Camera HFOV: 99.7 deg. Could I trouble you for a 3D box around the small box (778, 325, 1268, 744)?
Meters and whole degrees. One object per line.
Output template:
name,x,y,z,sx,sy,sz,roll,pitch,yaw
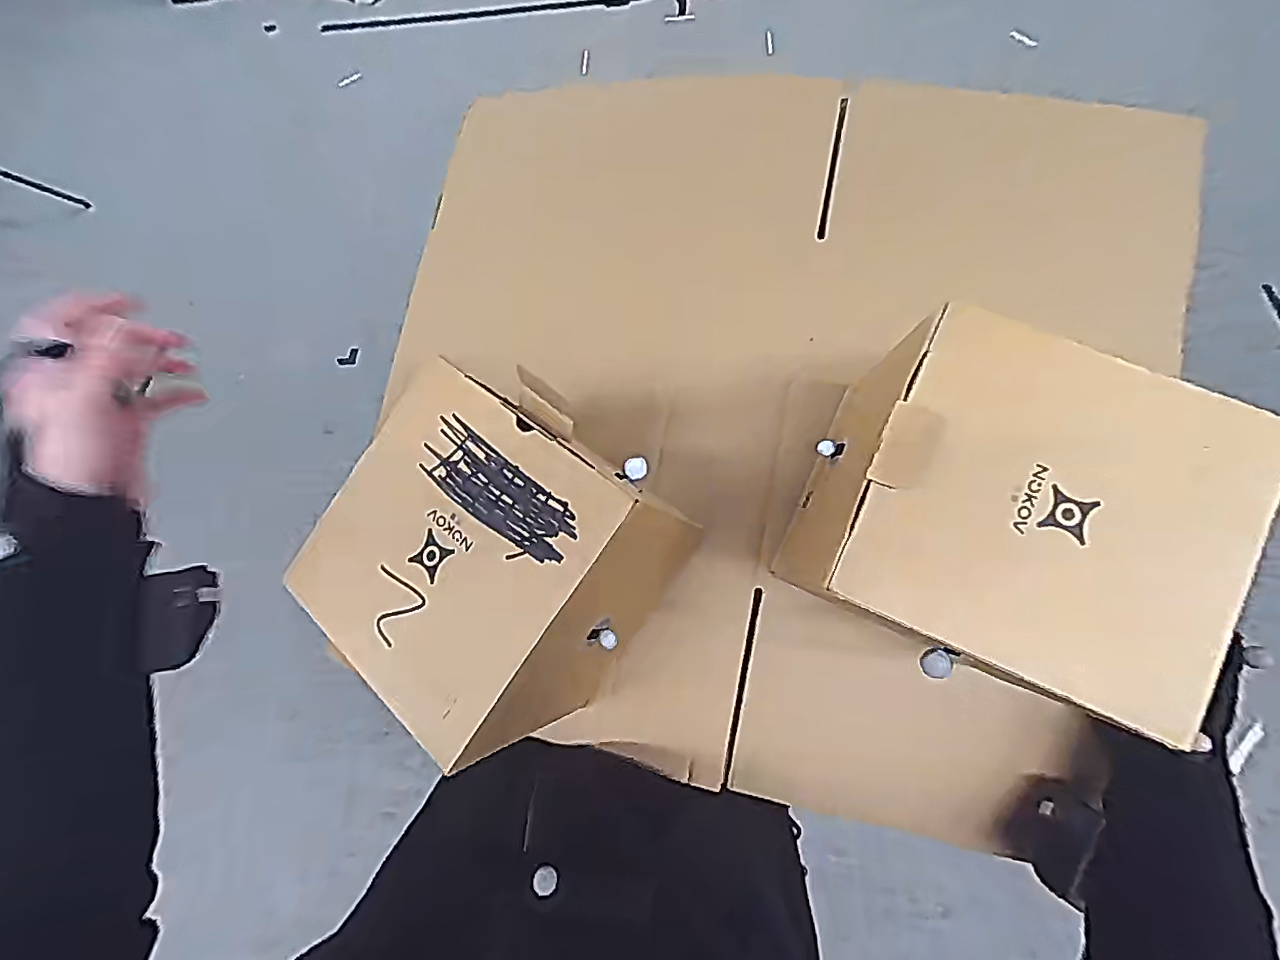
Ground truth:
small box,0.212,0.030,0.356,0.179,0.176,0.168,23,86,8
